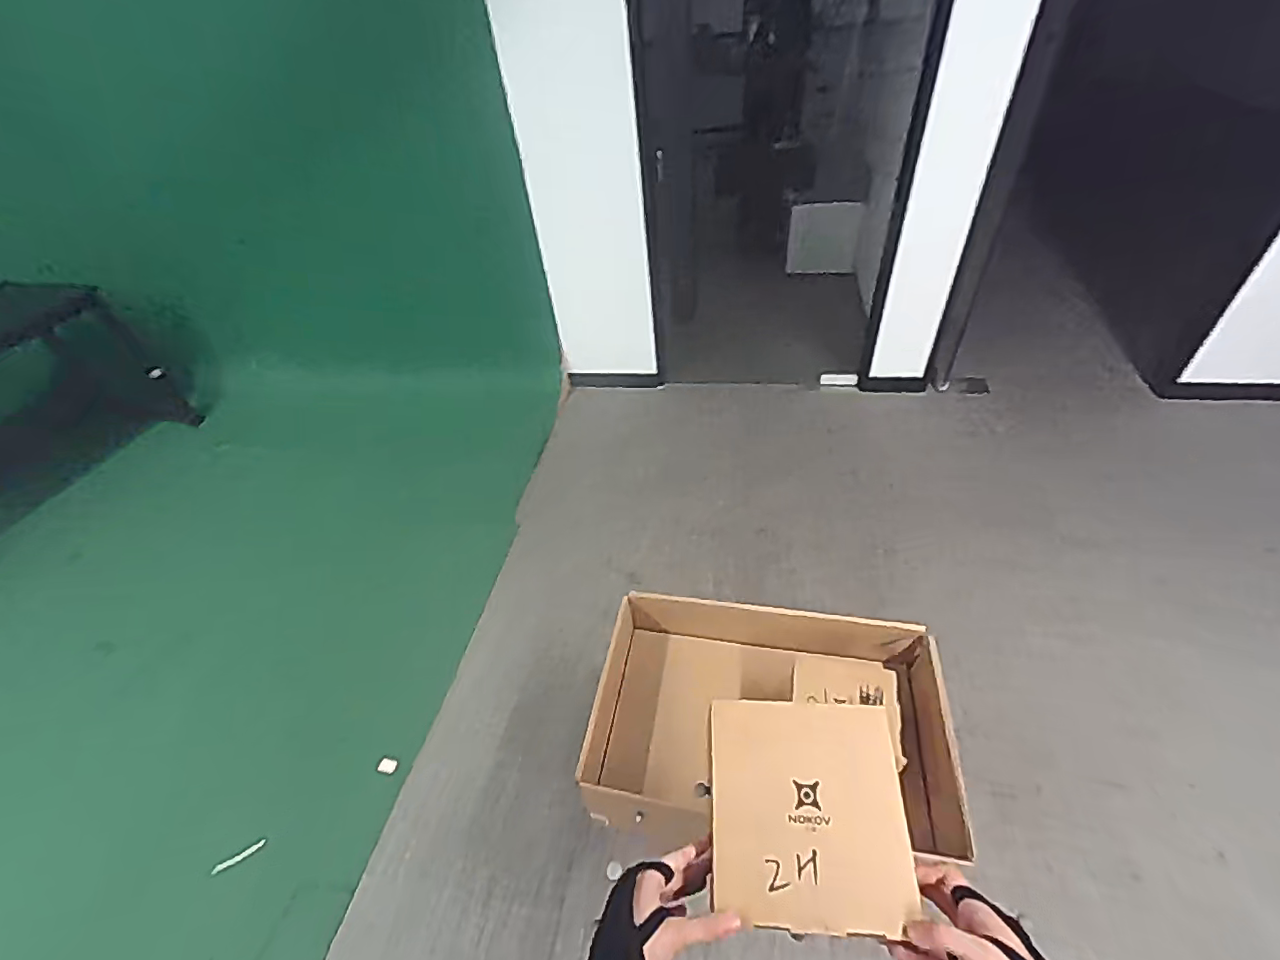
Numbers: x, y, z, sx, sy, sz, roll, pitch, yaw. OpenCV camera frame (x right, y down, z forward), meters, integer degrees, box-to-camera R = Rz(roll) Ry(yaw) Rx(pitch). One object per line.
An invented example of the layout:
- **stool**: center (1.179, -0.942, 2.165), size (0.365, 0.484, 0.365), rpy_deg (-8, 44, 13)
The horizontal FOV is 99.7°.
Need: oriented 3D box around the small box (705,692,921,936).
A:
- **small box**: center (0.149, 0.324, 0.538), size (0.168, 0.176, 0.179), rpy_deg (-1, 56, 7)
